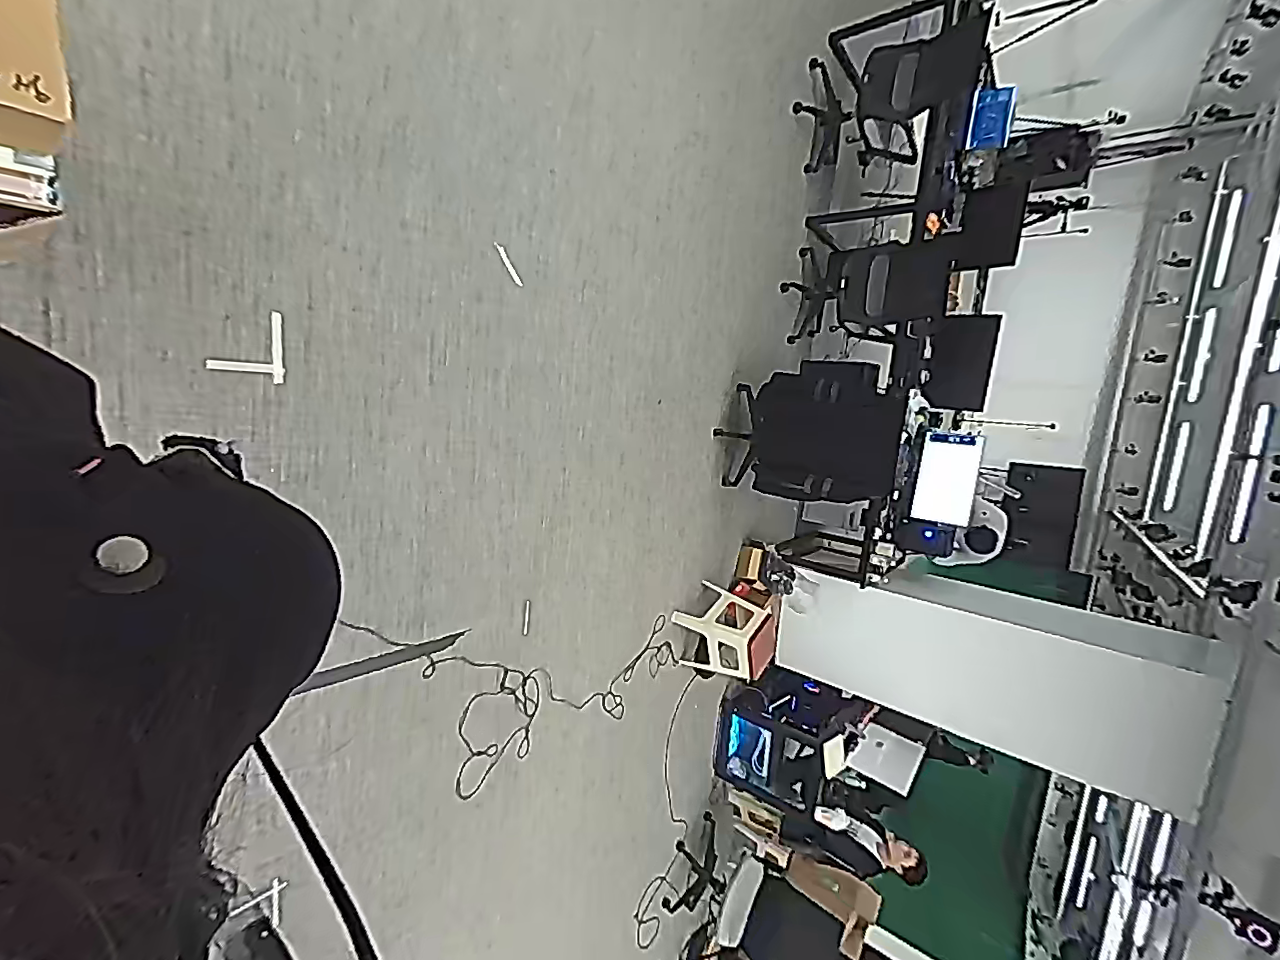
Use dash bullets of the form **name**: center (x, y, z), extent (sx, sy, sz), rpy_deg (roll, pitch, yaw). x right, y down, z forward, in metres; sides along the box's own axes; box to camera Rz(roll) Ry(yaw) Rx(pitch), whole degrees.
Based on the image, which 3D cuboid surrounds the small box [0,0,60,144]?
- **small box**: center (-0.738, -0.484, 0.553), extent (0.168, 0.176, 0.179), rpy_deg (-10, 105, -54)
